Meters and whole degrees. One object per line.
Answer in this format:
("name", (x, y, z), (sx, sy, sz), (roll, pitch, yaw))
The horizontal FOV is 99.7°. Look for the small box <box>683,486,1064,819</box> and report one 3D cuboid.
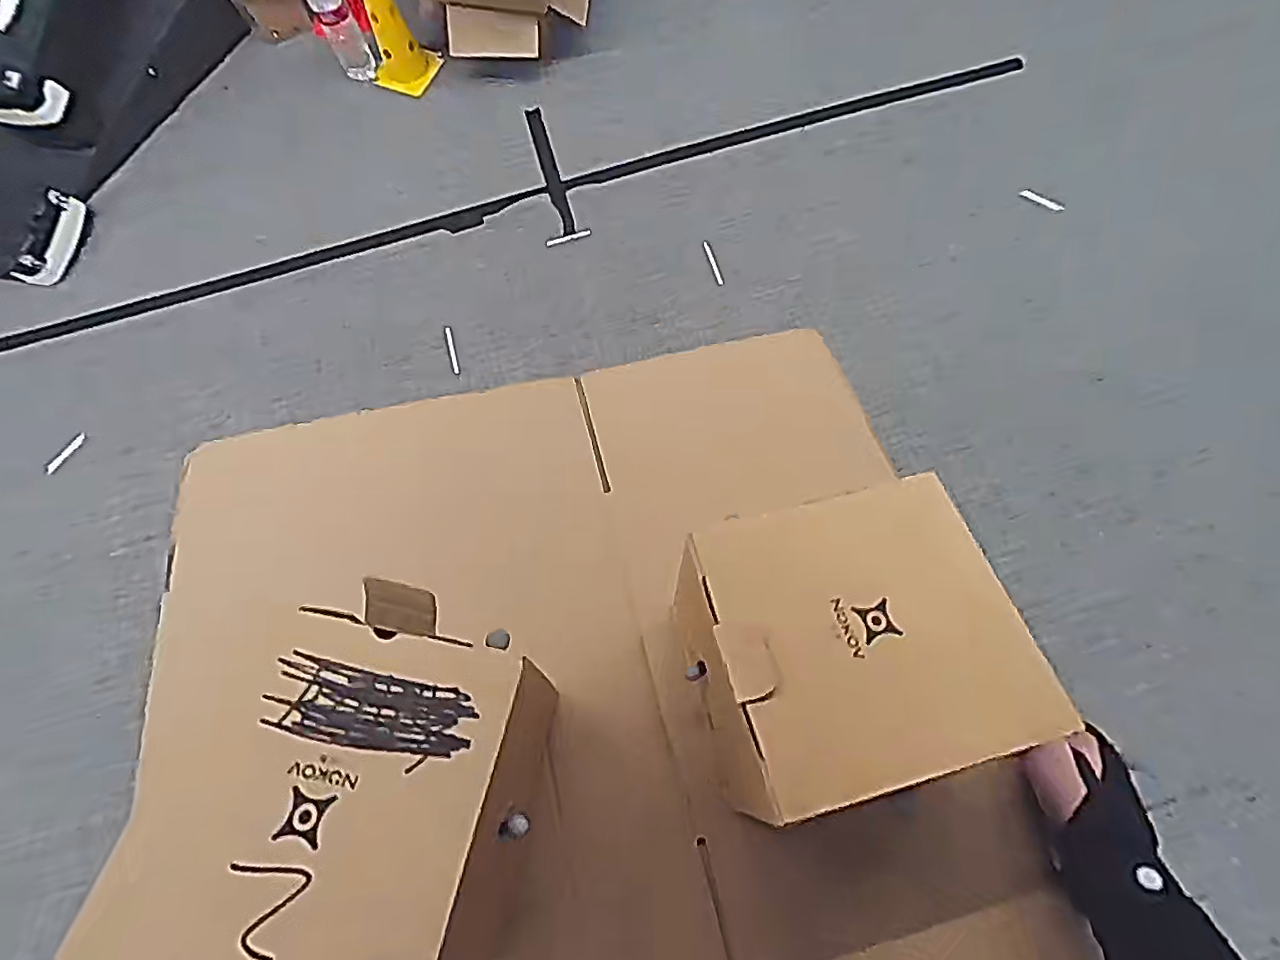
("small box", (0.139, 0.129, 0.402), (0.179, 0.176, 0.168), (-14, 62, -6))
